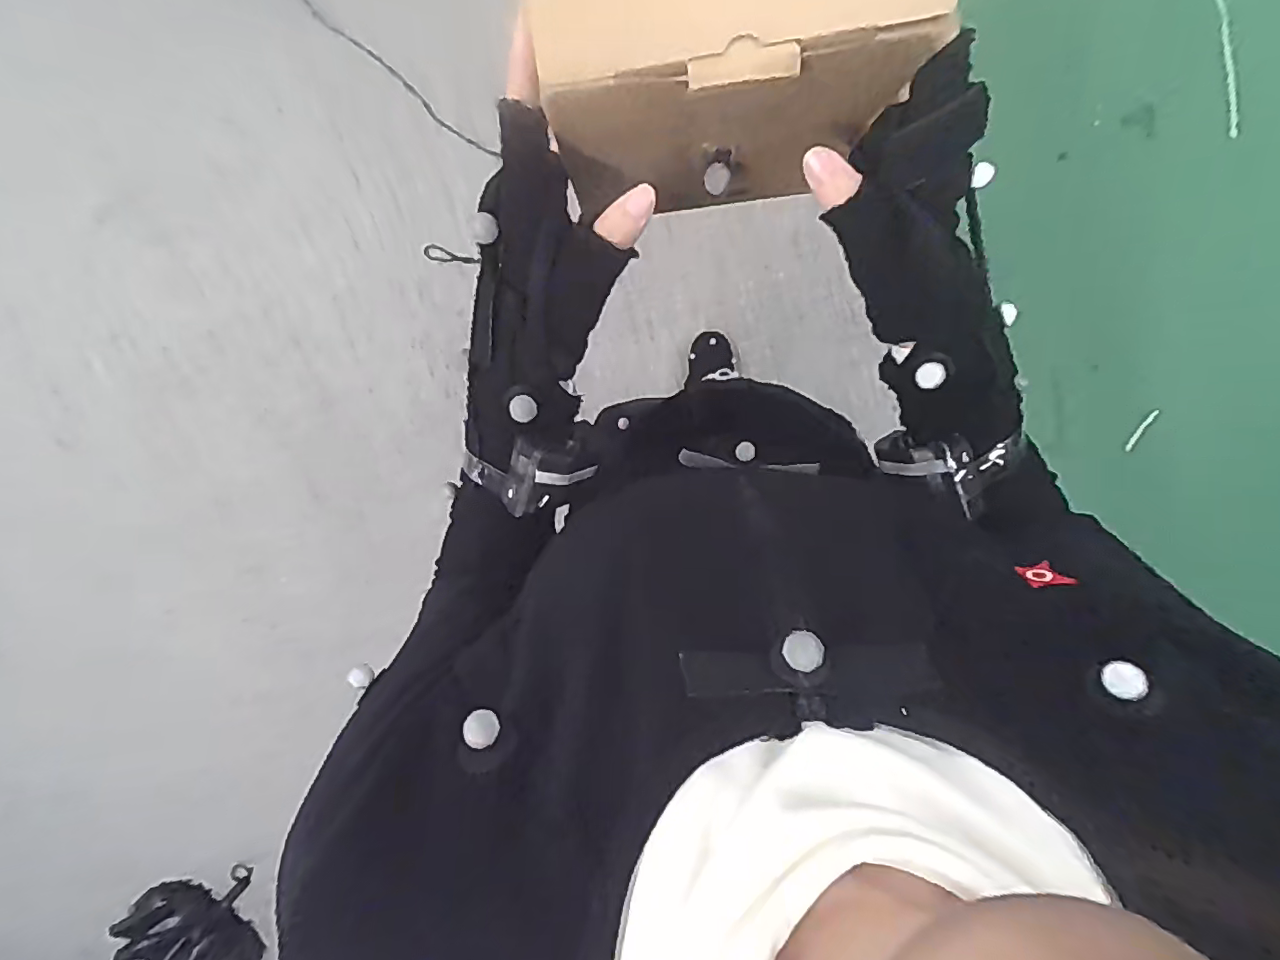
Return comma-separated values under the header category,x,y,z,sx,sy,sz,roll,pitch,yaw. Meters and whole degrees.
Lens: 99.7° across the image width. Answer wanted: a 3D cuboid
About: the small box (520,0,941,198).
category,x,y,z,sx,sy,sz,roll,pitch,yaw
small box,0.030,-0.266,0.279,0.168,0.176,0.179,-7,99,2
